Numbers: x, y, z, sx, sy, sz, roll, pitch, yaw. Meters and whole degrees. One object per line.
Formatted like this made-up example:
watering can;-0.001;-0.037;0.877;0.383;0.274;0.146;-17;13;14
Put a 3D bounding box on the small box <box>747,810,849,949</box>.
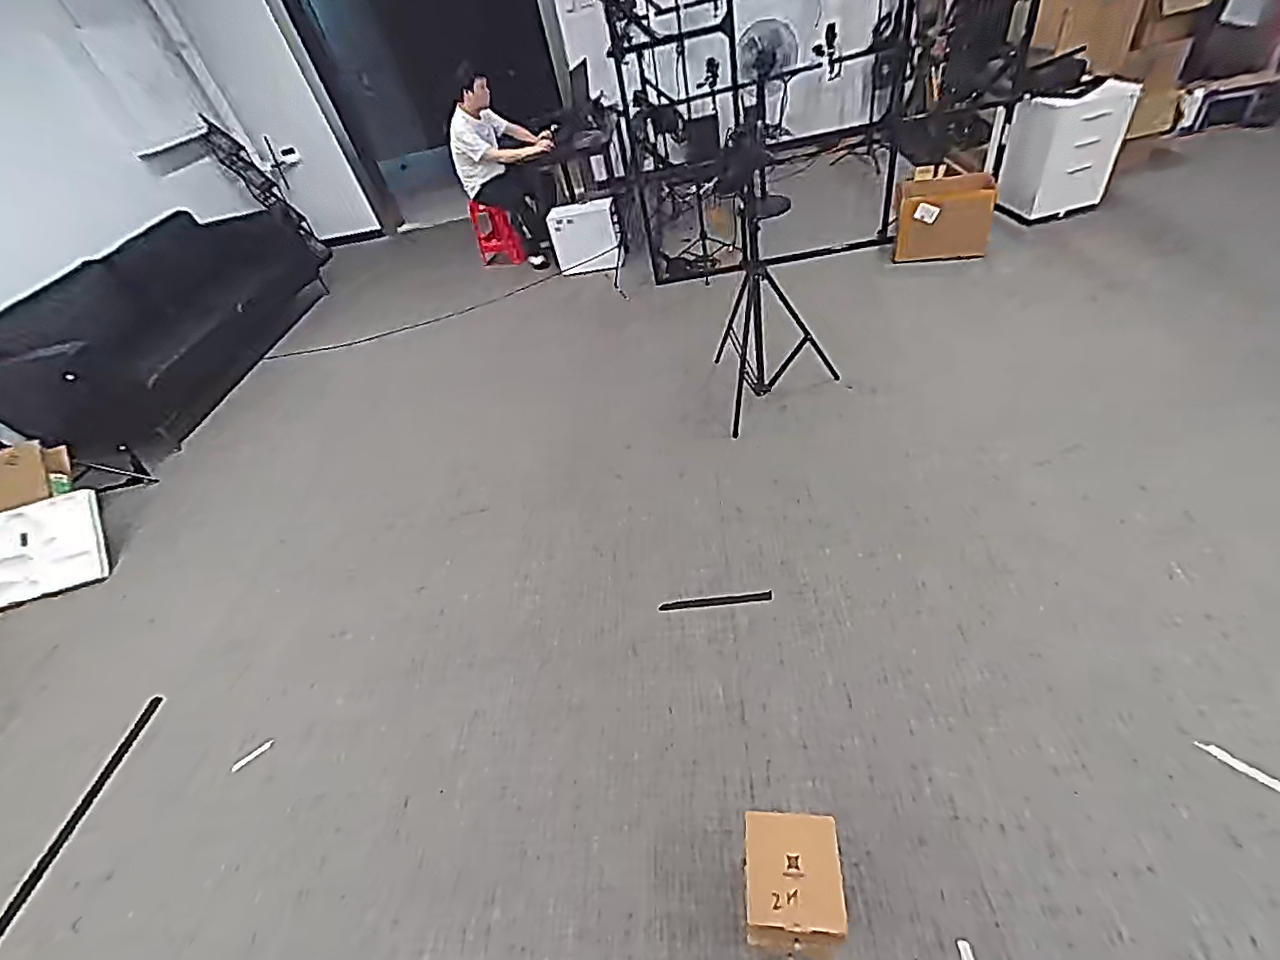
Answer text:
small box;0.290;0.747;1.014;0.168;0.176;0.179;-4;44;13
